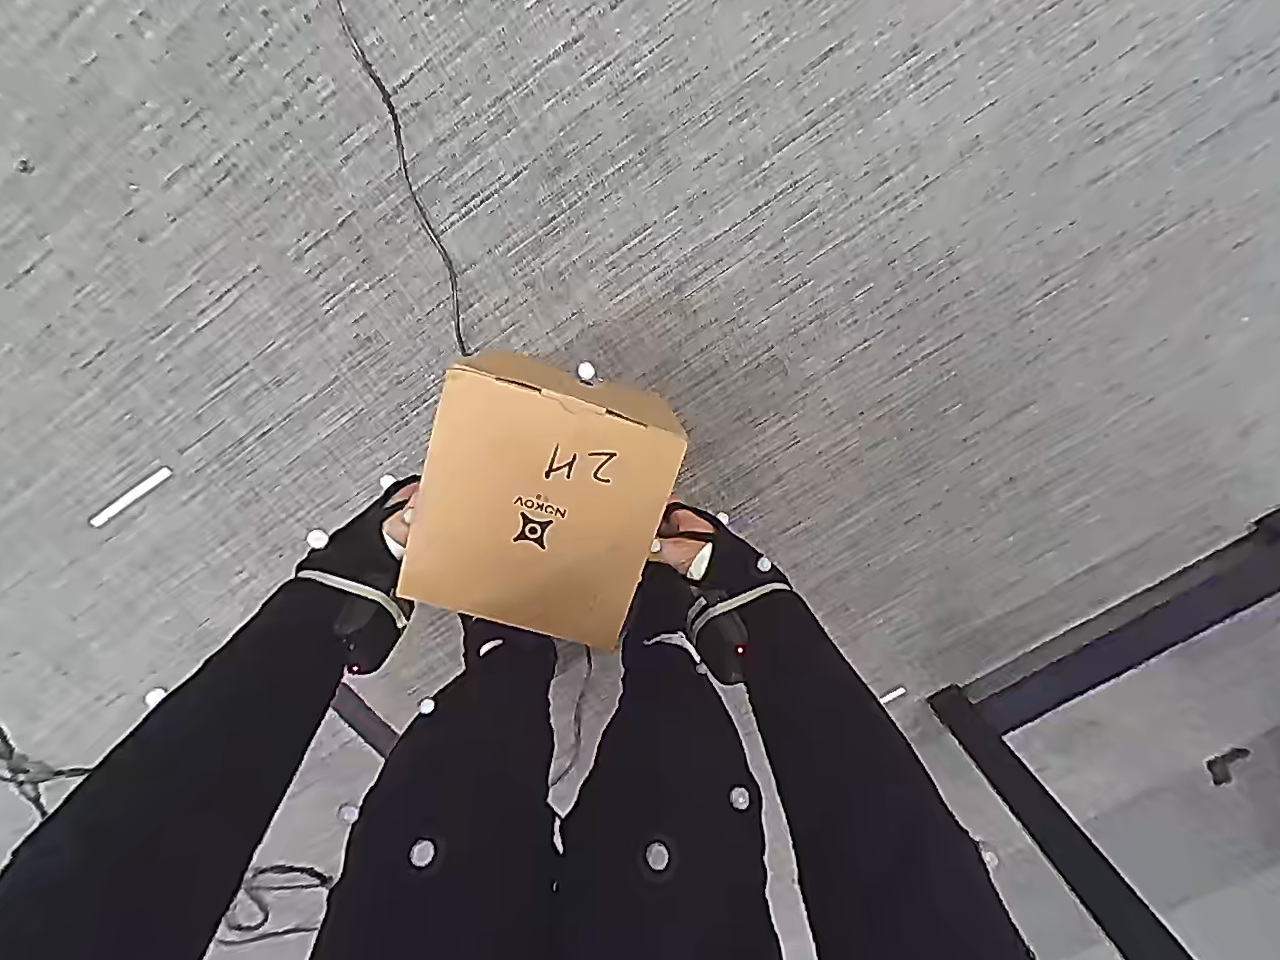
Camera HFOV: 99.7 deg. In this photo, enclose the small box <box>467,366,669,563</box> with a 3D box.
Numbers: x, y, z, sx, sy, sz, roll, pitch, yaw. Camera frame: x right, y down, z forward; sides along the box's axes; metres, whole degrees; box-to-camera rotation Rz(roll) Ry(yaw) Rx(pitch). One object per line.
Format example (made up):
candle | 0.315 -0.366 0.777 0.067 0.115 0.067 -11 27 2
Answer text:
small box | -0.079 -0.028 0.620 0.179 0.176 0.168 13 105 -7
